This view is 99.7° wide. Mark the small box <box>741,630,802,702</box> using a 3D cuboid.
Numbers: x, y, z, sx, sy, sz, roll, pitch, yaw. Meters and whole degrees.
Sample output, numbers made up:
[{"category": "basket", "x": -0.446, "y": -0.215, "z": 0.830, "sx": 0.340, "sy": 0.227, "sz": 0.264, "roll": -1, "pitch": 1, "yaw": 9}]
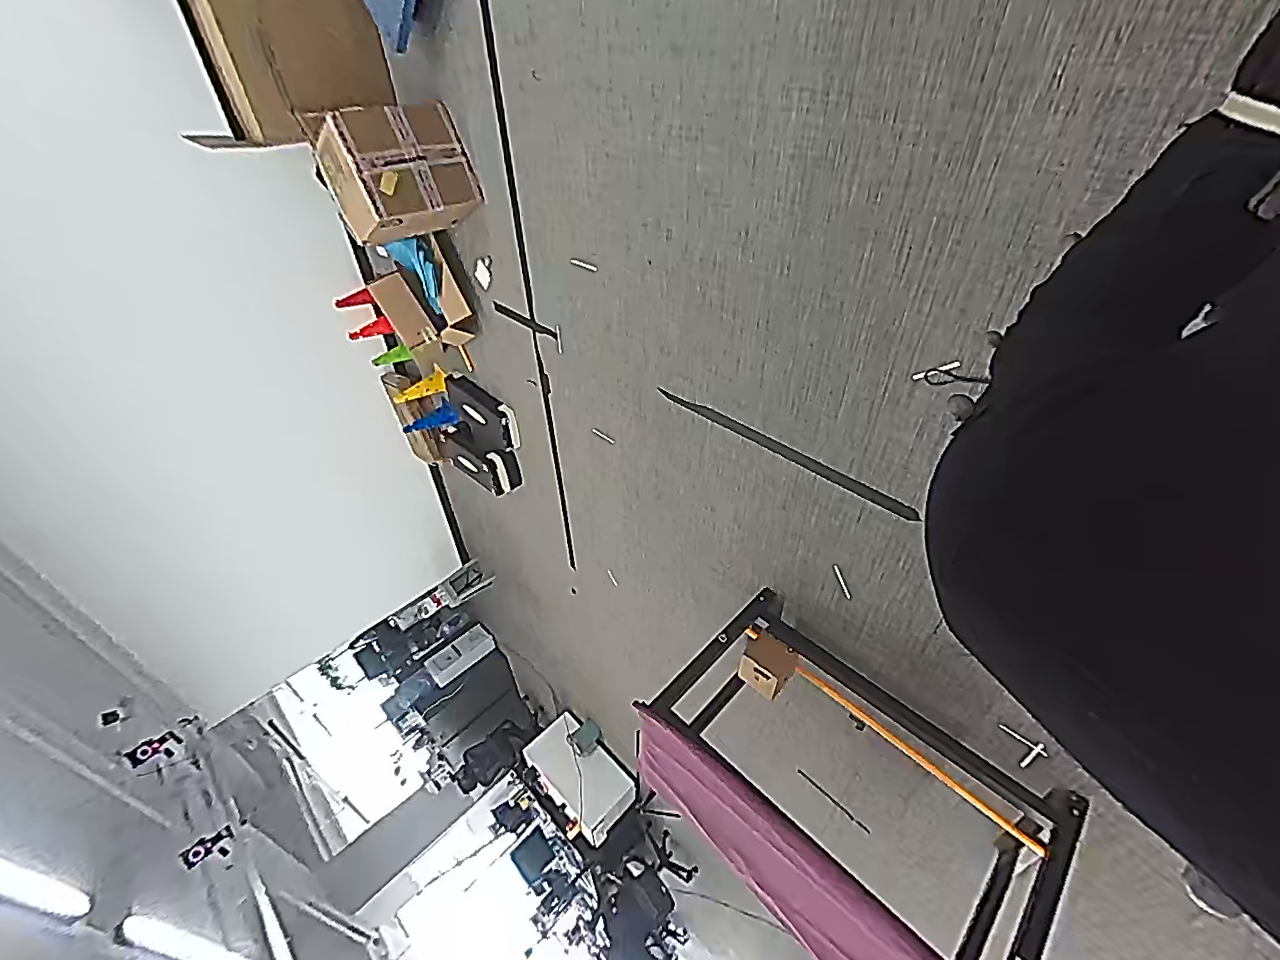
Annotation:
[{"category": "small box", "x": 0.523, "y": 0.730, "z": 2.143, "sx": 0.168, "sy": 0.176, "sz": 0.179, "roll": 32, "pitch": 141, "yaw": 32}]
